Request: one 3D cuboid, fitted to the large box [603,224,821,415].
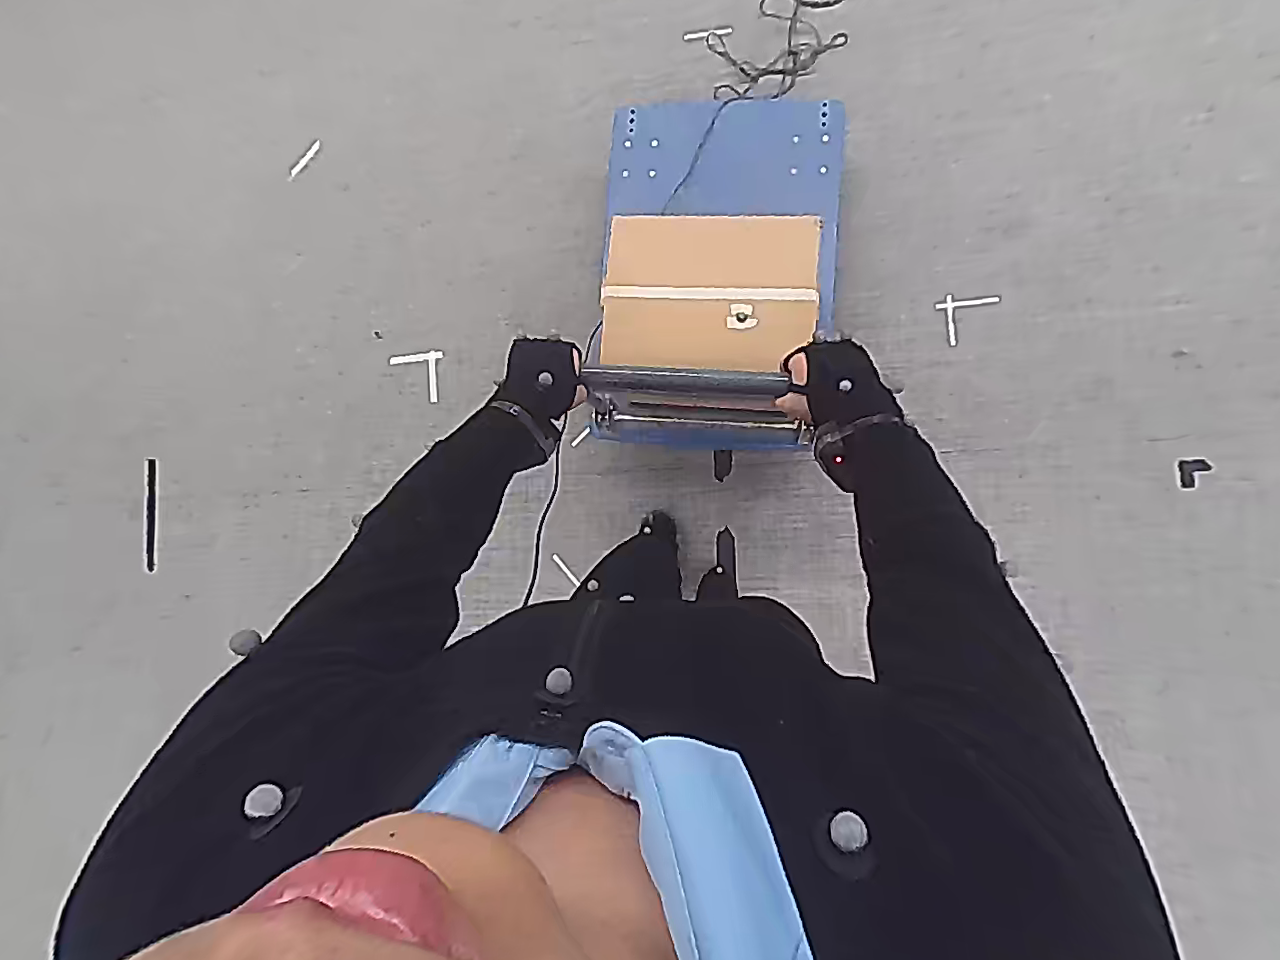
[{"bbox_3d":[0.149,-0.325,1.172,0.408,0.320,0.320,4,87,7],"label":"large box"}]
